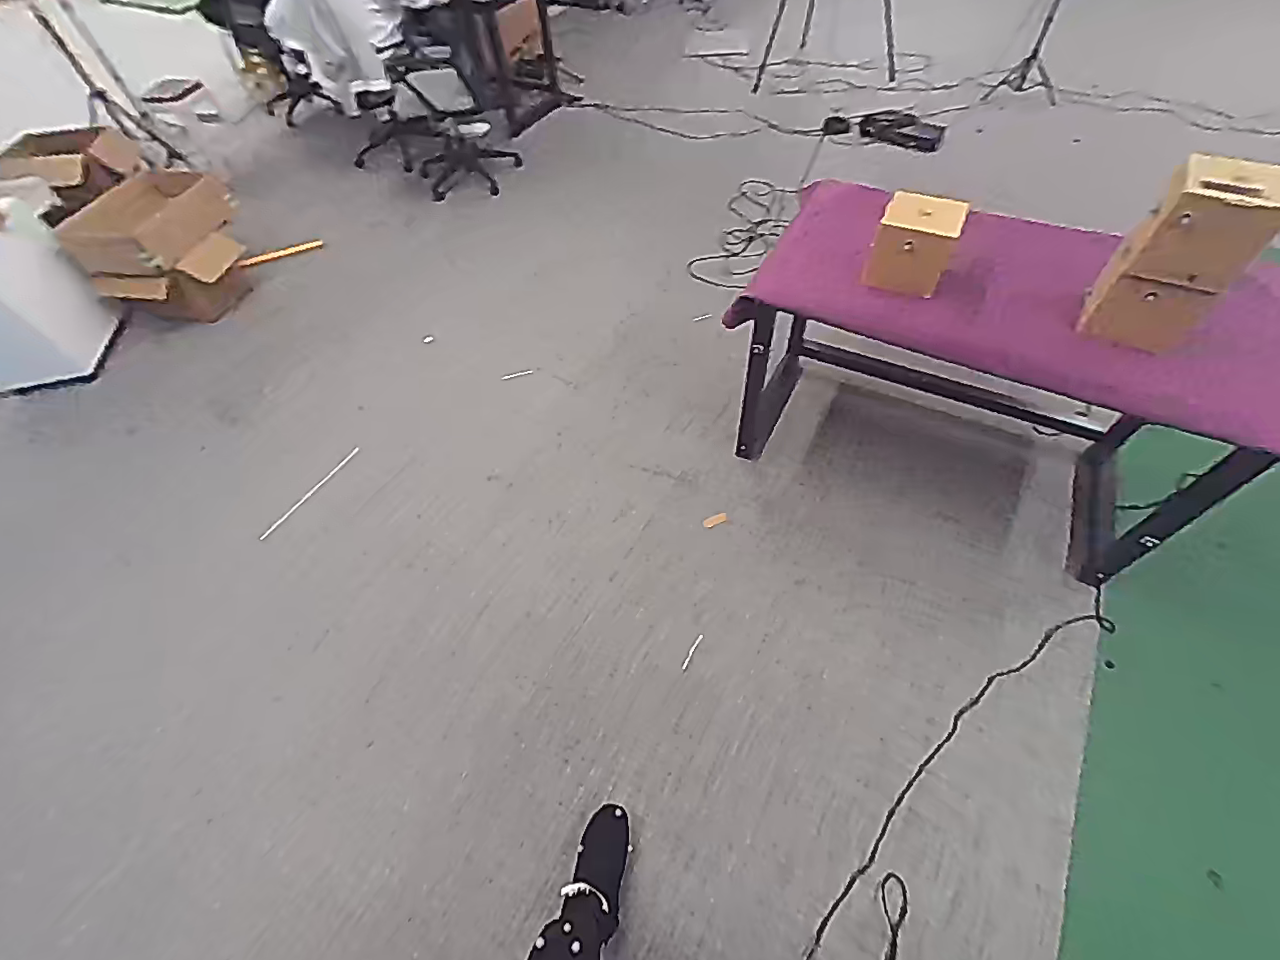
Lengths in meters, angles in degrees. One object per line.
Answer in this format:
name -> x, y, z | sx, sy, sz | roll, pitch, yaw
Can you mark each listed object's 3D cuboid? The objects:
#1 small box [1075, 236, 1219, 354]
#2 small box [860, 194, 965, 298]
small box -> 1.119, -0.408, 1.204 | 0.179, 0.176, 0.168 | 26, 60, 20
small box -> 0.680, -0.585, 1.363 | 0.179, 0.176, 0.168 | 21, 59, 18
